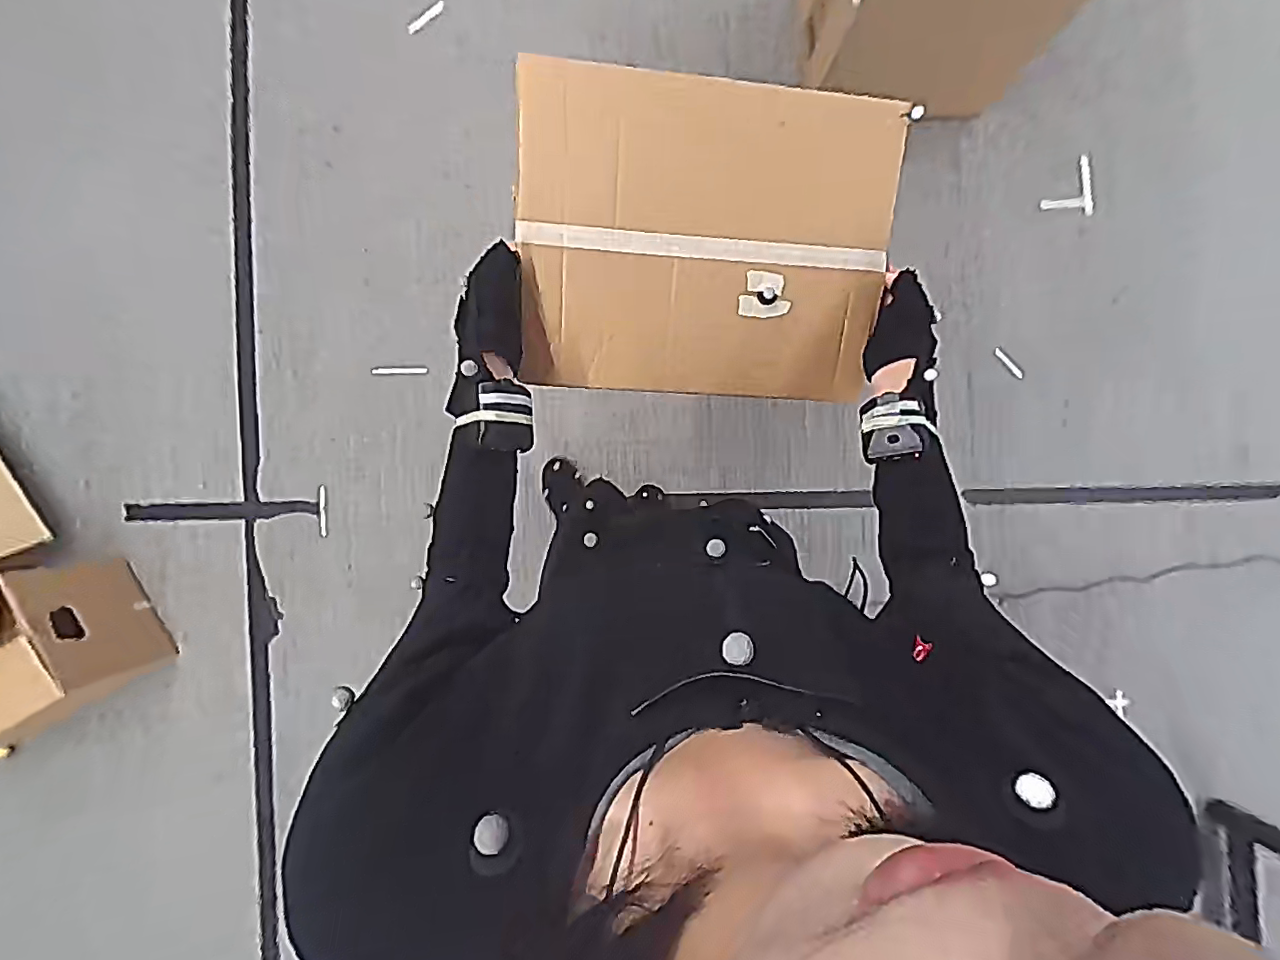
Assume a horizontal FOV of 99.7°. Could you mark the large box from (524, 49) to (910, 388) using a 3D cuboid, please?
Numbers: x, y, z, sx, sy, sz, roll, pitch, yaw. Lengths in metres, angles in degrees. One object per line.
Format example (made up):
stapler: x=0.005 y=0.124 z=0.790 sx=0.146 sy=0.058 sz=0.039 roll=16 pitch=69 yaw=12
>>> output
large box: x=0.061 y=-0.298 z=0.718 sx=0.408 sy=0.320 sz=0.320 roll=2 pitch=106 yaw=-8
